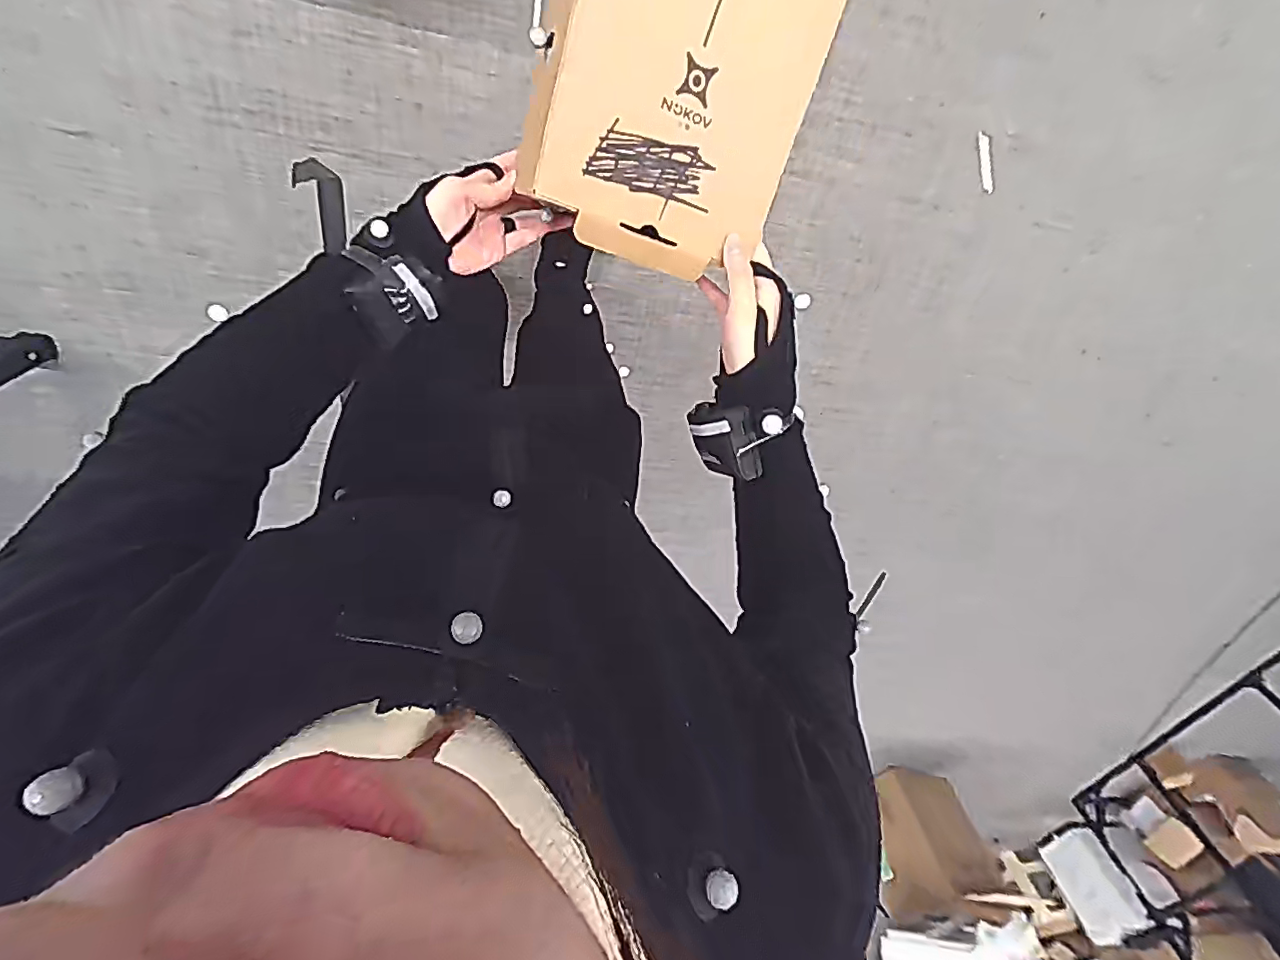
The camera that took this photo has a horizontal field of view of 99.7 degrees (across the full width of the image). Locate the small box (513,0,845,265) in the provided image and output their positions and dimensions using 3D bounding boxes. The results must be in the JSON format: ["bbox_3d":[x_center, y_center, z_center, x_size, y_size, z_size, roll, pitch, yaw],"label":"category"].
[{"bbox_3d":[0.007,-0.282,0.402,0.168,0.176,0.179,10,113,-24],"label":"small box"}]
